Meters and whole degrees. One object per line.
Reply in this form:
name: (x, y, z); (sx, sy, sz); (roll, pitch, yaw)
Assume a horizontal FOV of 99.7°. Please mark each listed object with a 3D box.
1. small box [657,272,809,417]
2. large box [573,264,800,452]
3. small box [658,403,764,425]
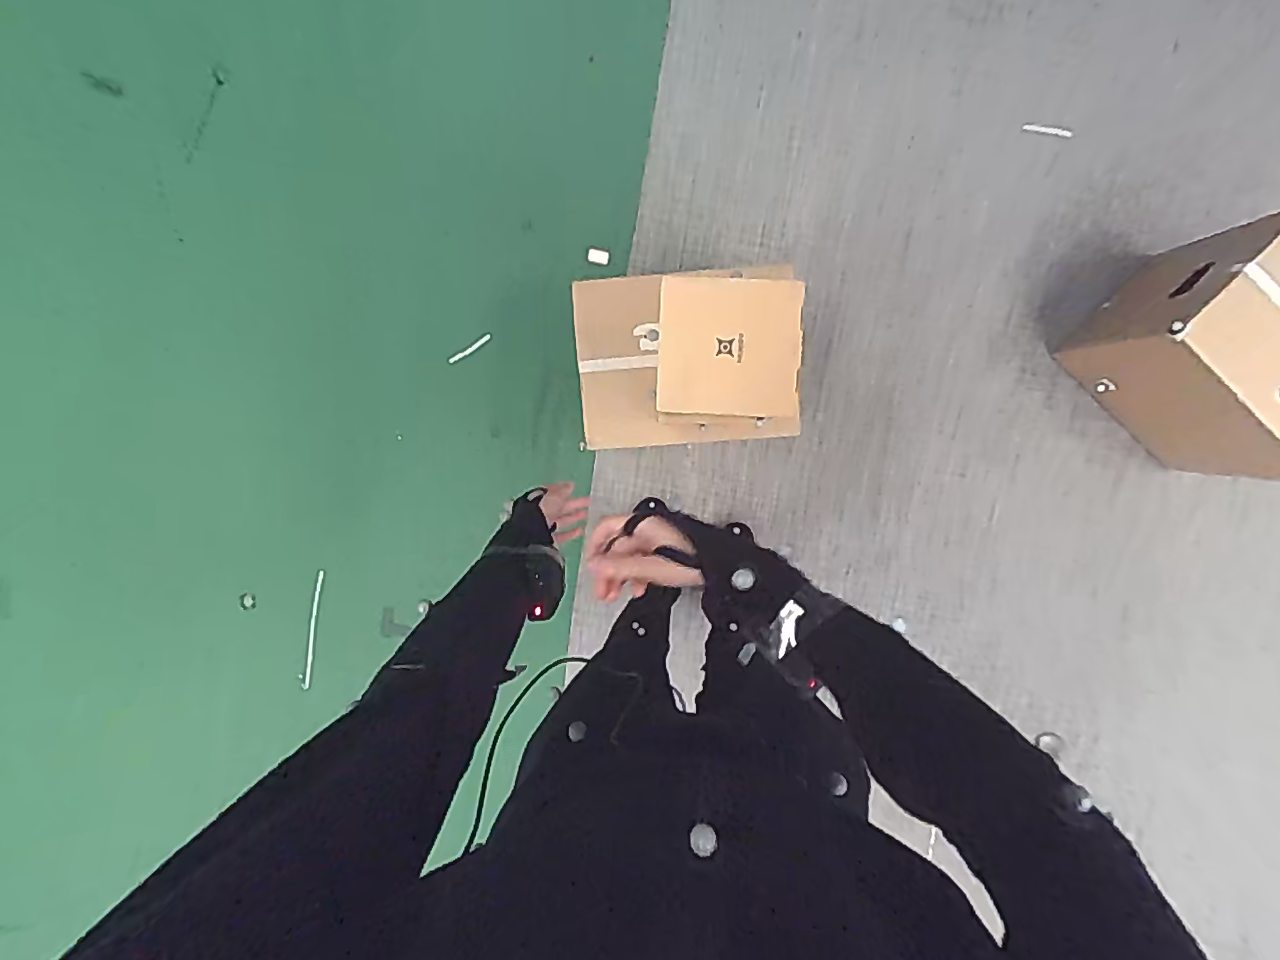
small box: (0.114, -0.174, 0.736); (0.179, 0.176, 0.168); (2, 96, 1)
large box: (0.095, -0.236, 1.141); (0.408, 0.320, 0.320); (-4, 94, 3)
small box: (0.115, -0.183, 0.898); (0.168, 0.176, 0.179); (1, 96, 1)
